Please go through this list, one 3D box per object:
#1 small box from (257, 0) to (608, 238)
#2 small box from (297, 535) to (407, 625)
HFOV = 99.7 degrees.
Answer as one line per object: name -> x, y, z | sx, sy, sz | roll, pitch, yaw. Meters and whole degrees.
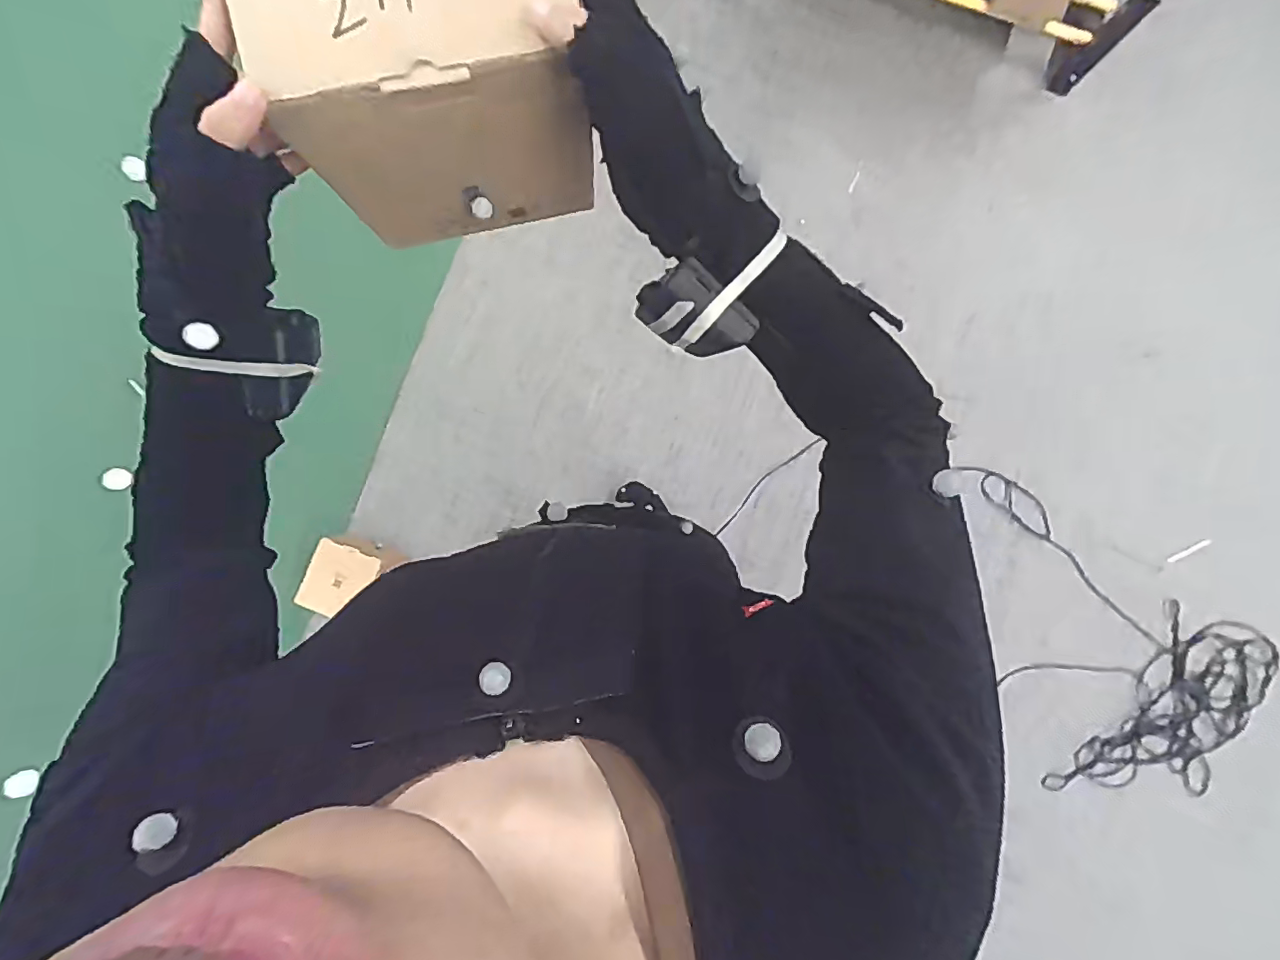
small box -> -0.118, -0.288, 0.345 | 0.168, 0.176, 0.179 | -12, 91, -3
small box -> -0.736, 0.252, 1.406 | 0.168, 0.176, 0.179 | 21, 86, 0
